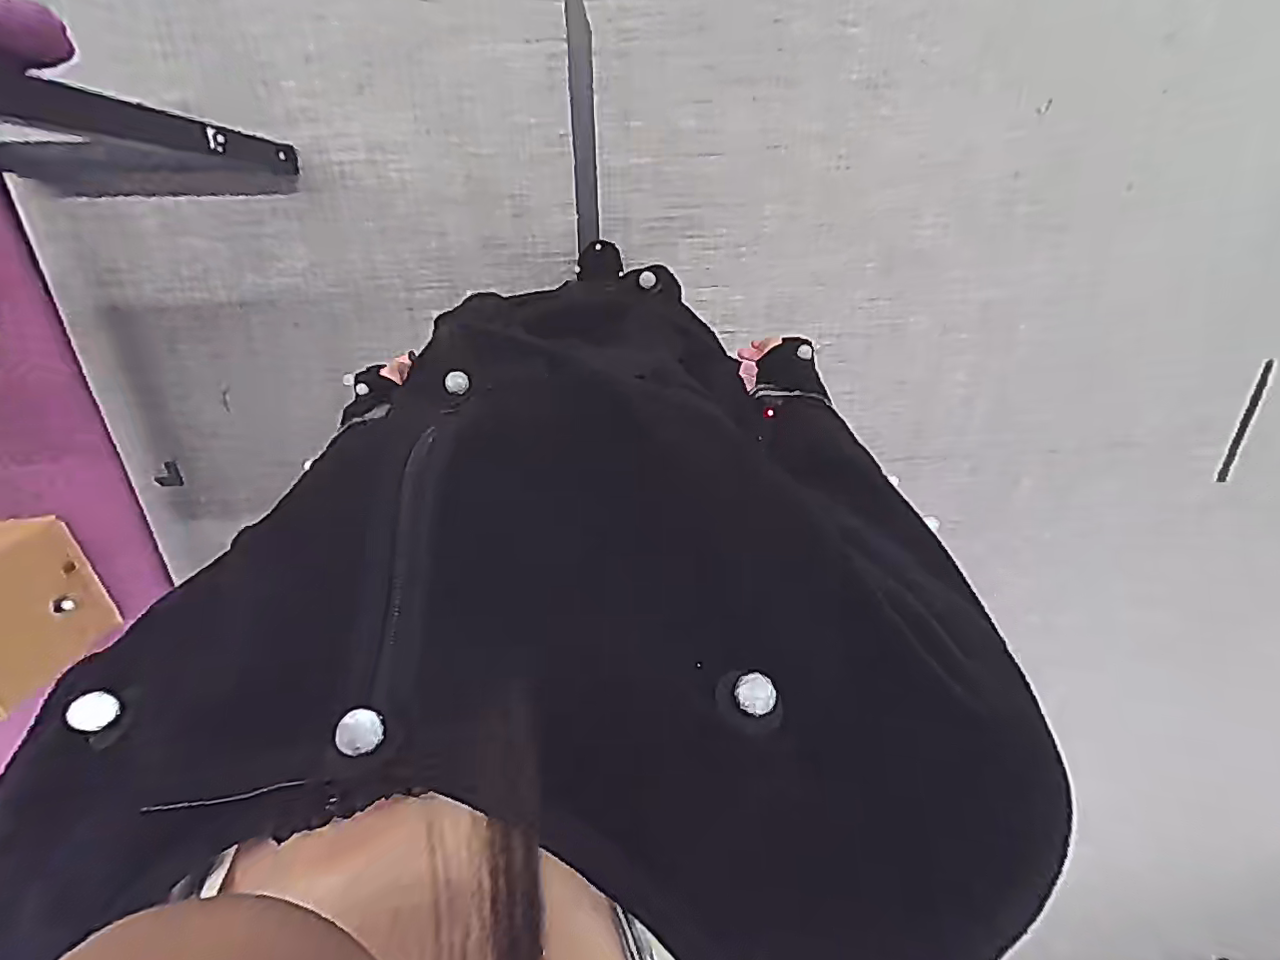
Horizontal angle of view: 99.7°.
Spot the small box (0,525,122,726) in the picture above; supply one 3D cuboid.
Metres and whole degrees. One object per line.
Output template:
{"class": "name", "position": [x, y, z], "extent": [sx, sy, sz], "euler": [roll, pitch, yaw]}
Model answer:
{"class": "small box", "position": [-0.780, 0.168, 0.622], "extent": [0.179, 0.176, 0.168], "euler": [-7, 115, -2]}
